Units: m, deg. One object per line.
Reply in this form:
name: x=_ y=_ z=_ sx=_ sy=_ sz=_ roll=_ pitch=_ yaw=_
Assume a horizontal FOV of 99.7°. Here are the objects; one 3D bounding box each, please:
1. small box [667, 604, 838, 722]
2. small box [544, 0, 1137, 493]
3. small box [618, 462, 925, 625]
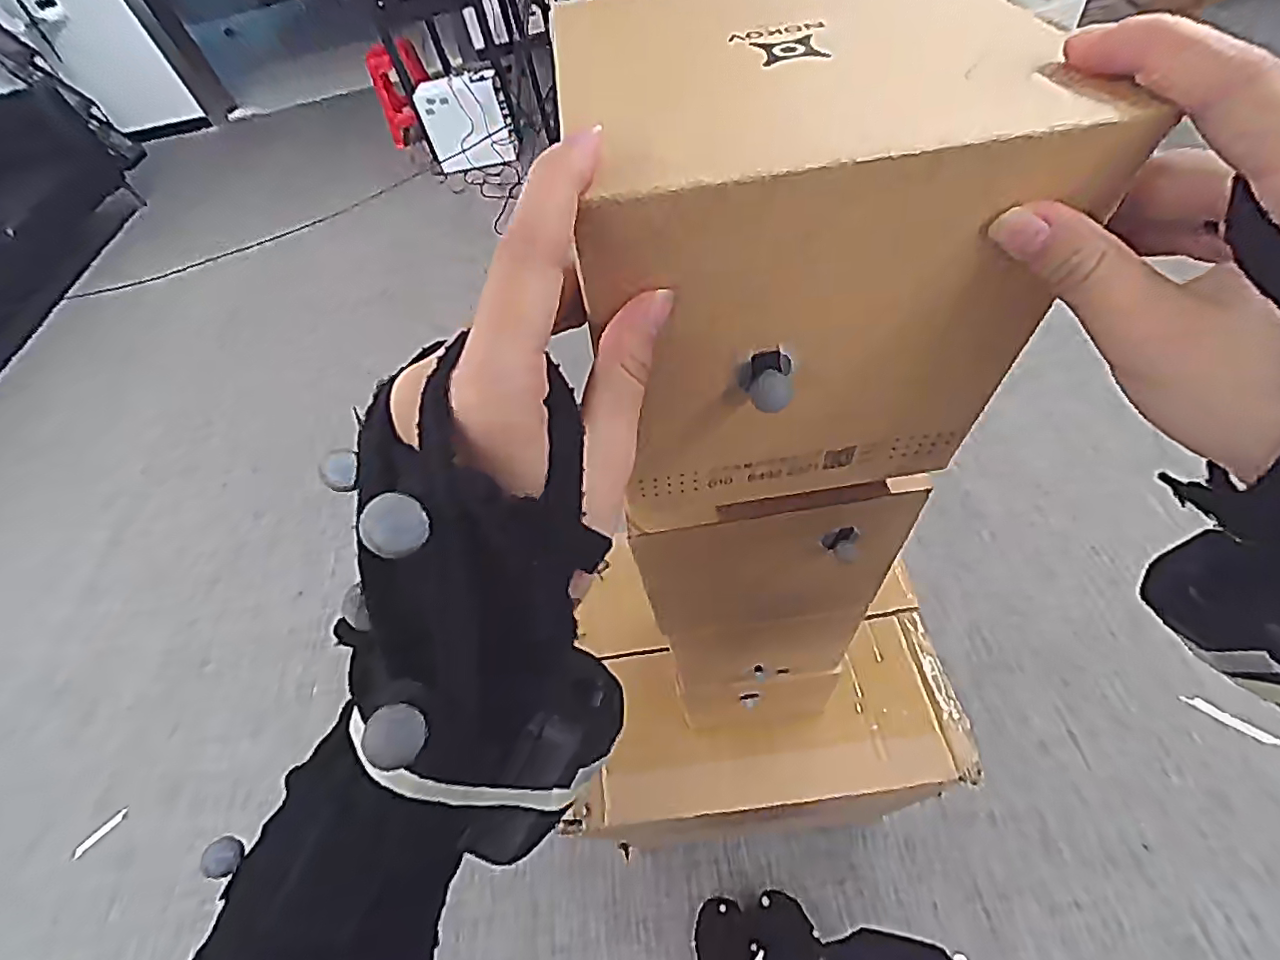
small box: x=0.129 y=0.193 z=0.677 sx=0.179 sy=0.176 sz=0.168 roll=-9 pitch=54 yaw=4
small box: x=0.055 y=-0.108 z=0.260 sx=0.168 sy=0.176 sz=0.179 roll=-9 pitch=54 yaw=1
small box: x=0.080 y=-0.003 z=0.417 sx=0.179 sy=0.176 sz=0.168 roll=-10 pitch=54 yaw=4
